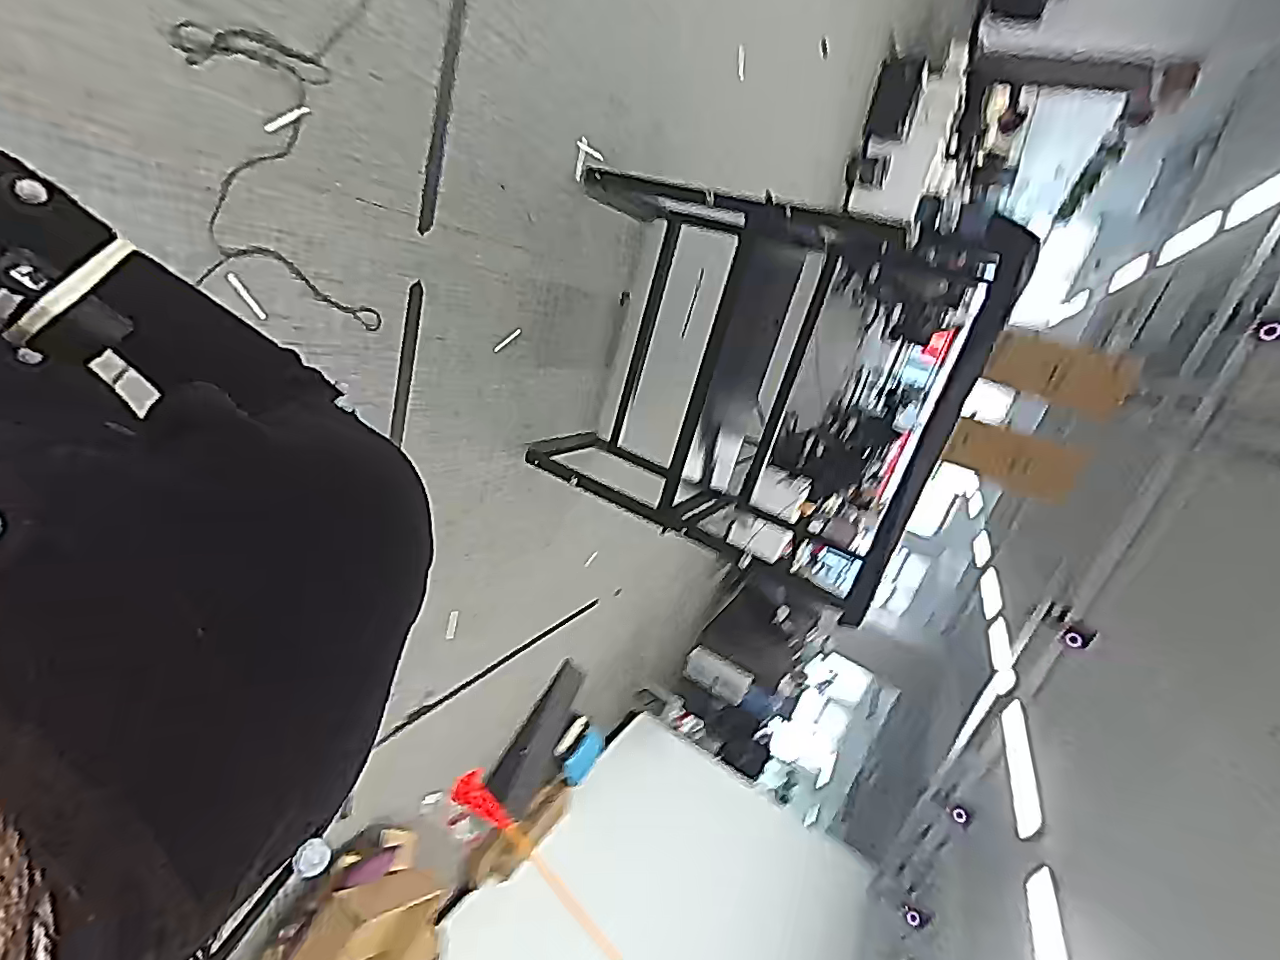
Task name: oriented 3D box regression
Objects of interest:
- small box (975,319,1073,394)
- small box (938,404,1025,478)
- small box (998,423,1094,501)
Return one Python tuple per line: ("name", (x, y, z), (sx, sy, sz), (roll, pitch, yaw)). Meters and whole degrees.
("small box", (1.076, -0.354, 1.533), (0.179, 0.176, 0.168), (-26, 136, -58))
("small box", (1.015, -0.123, 1.625), (0.179, 0.176, 0.168), (-21, 131, -59))
("small box", (1.155, -0.060, 1.566), (0.179, 0.176, 0.168), (-19, 129, -60))
